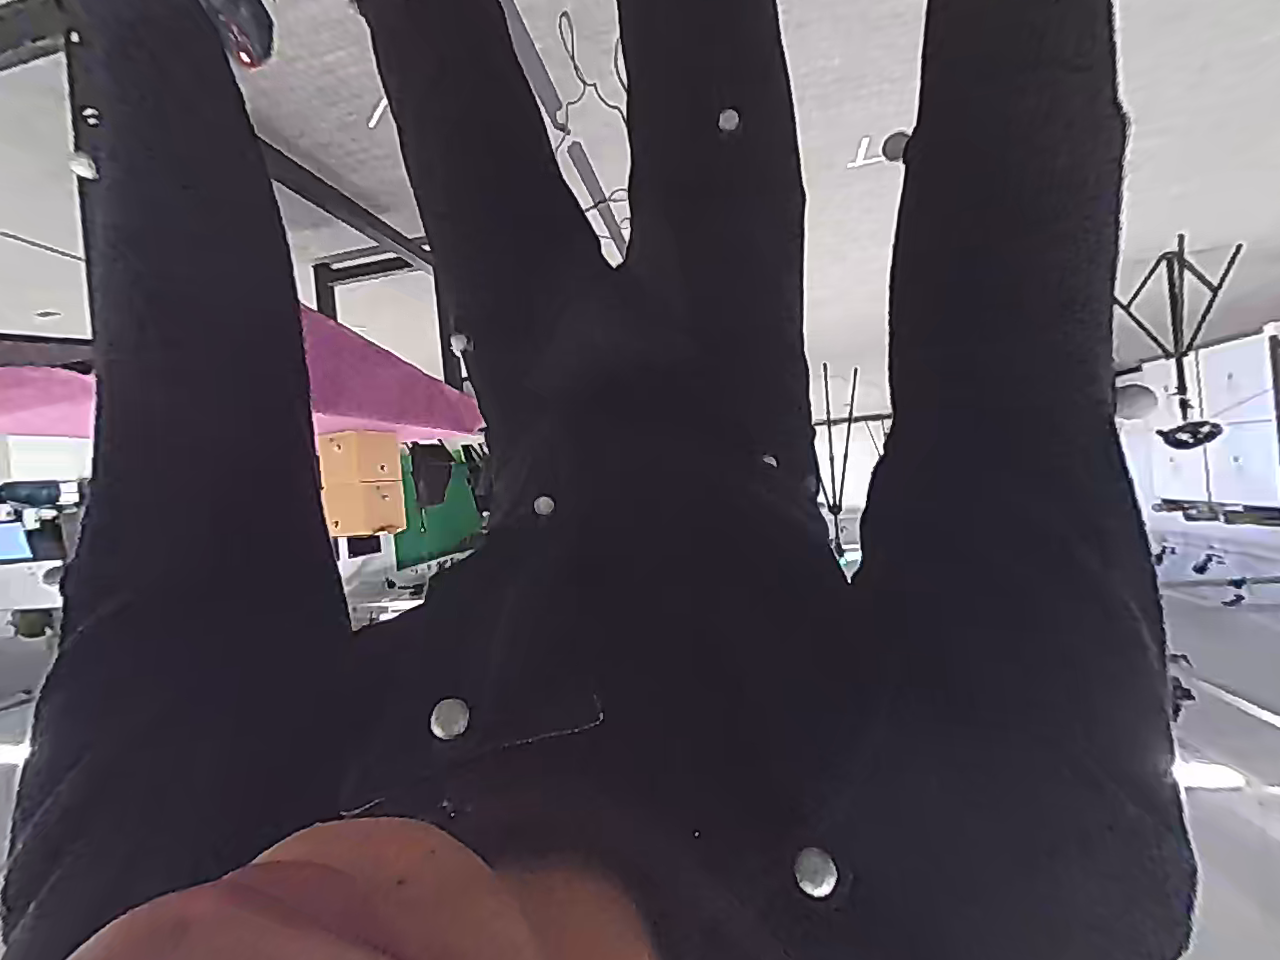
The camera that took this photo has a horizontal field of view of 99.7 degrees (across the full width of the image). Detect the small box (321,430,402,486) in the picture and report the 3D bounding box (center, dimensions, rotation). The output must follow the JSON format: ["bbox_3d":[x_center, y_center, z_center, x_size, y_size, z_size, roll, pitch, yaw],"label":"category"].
[{"bbox_3d":[-0.917,-0.073,1.782,0.168,0.176,0.179,-6,179,21],"label":"small box"}]

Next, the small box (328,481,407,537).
[{"bbox_3d":[-0.905,0.092,1.793,0.179,0.176,0.168,-5,-179,22],"label":"small box"}]
